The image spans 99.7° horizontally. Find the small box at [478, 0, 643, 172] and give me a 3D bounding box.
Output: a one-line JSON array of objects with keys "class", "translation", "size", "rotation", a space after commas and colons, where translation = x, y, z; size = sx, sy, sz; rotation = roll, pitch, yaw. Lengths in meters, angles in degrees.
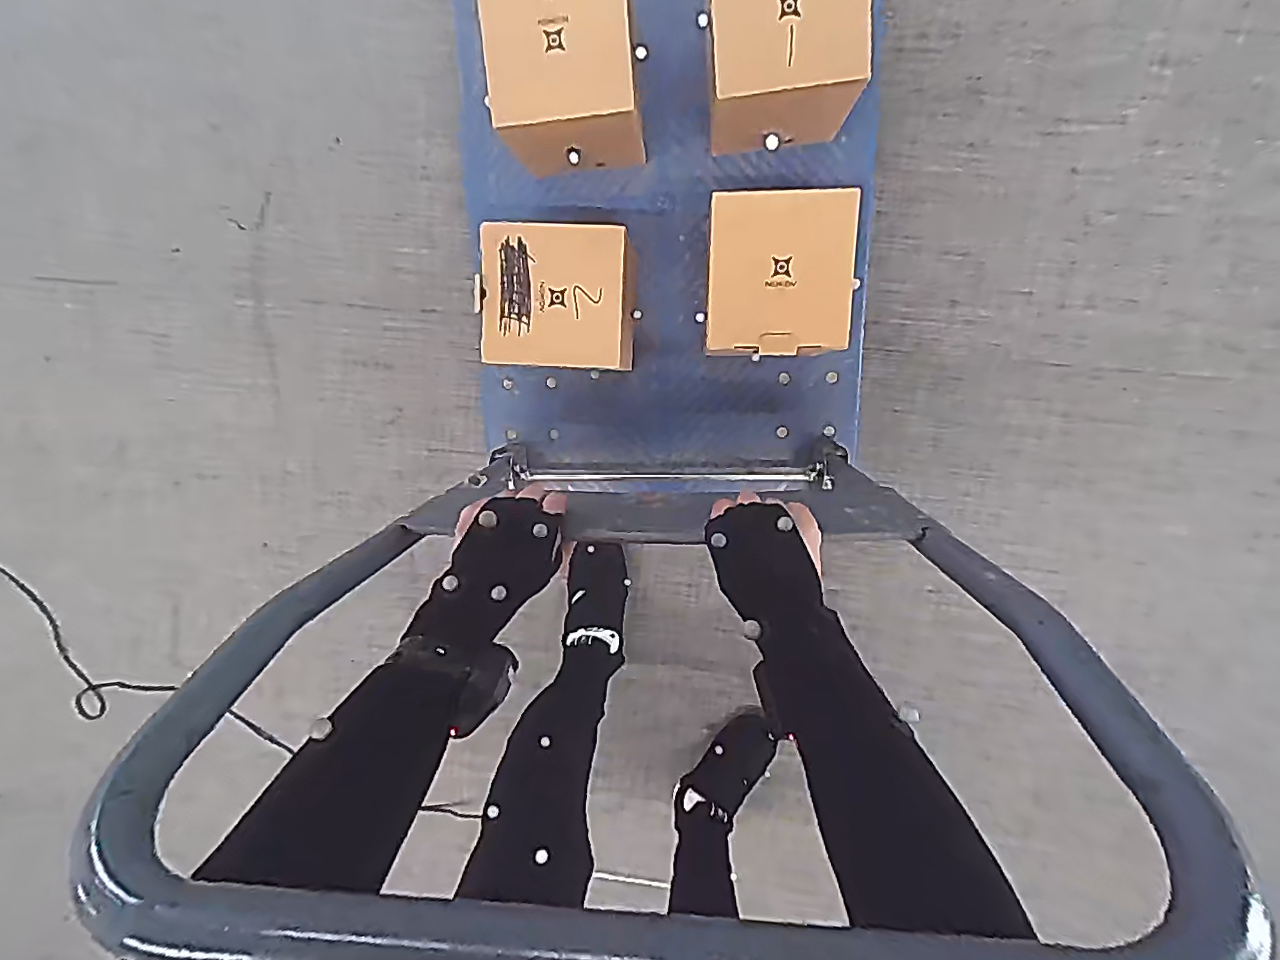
[{"class": "small box", "translation": [-0.087, -0.503, 0.671], "size": [0.168, 0.176, 0.179], "rotation": [-3, 101, 5]}]

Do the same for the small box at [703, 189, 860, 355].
[{"class": "small box", "translation": [0.169, -0.255, 0.699], "size": [0.168, 0.176, 0.179], "rotation": [1, 102, 5]}]

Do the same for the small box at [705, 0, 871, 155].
[{"class": "small box", "translation": [0.165, -0.520, 0.644], "size": [0.168, 0.176, 0.179], "rotation": [-3, 102, 7]}]
